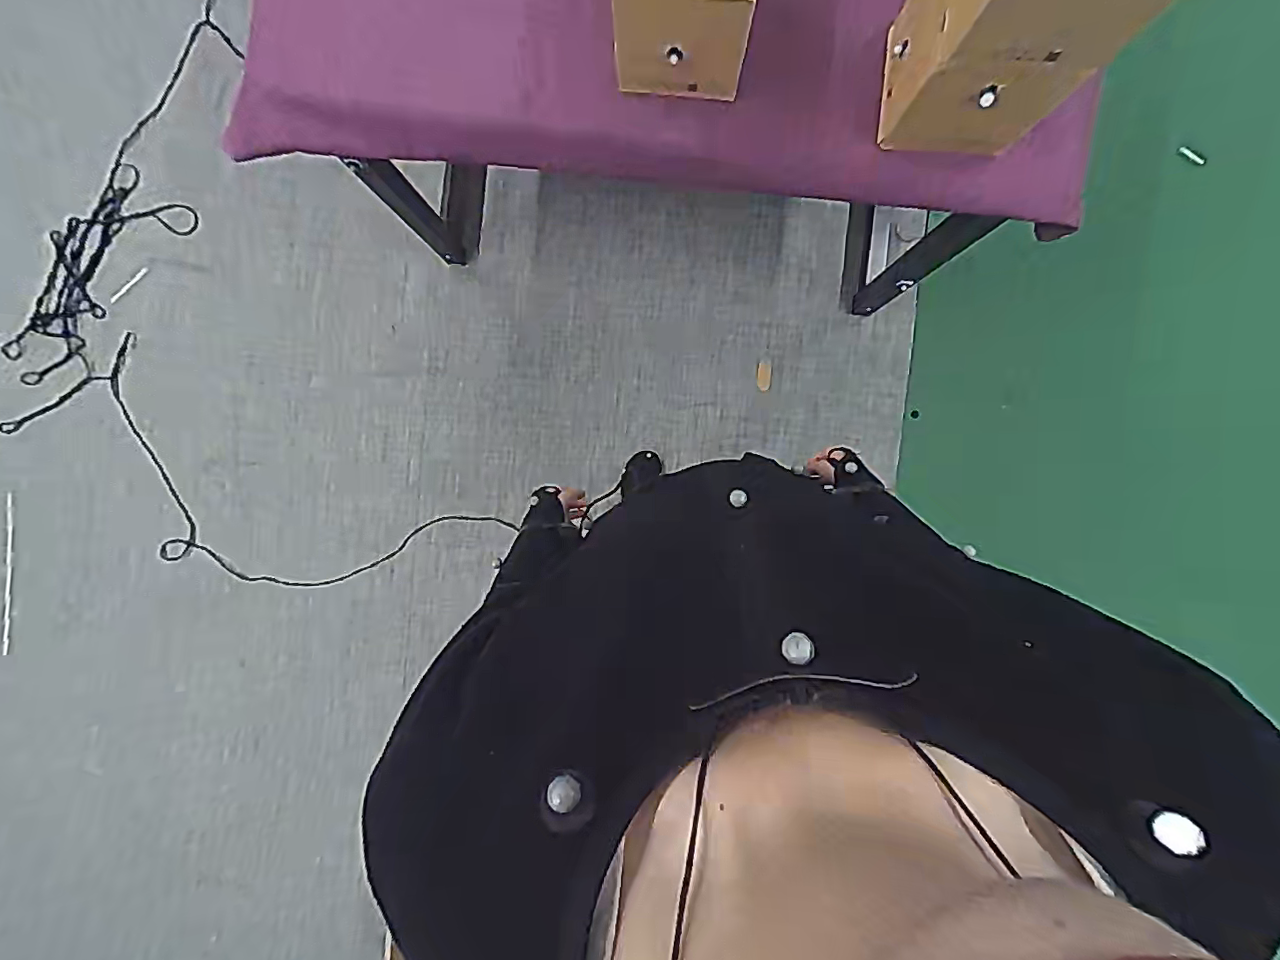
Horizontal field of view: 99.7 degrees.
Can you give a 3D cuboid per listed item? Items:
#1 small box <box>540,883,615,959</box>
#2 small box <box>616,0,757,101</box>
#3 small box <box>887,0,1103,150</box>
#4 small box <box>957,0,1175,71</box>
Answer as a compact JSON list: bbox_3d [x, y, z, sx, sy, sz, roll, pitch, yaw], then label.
[{"bbox_3d":[-0.161,1.211,1.432,0.179,0.176,0.168,1,90,4],"label":"small box"},{"bbox_3d":[0.066,-0.628,0.692,0.168,0.176,0.179,6,91,2],"label":"small box"},{"bbox_3d":[0.436,-0.542,0.677,0.179,0.176,0.168,5,93,4],"label":"small box"},{"bbox_3d":[0.429,-0.539,0.513,0.168,0.176,0.179,5,92,5],"label":"small box"}]
